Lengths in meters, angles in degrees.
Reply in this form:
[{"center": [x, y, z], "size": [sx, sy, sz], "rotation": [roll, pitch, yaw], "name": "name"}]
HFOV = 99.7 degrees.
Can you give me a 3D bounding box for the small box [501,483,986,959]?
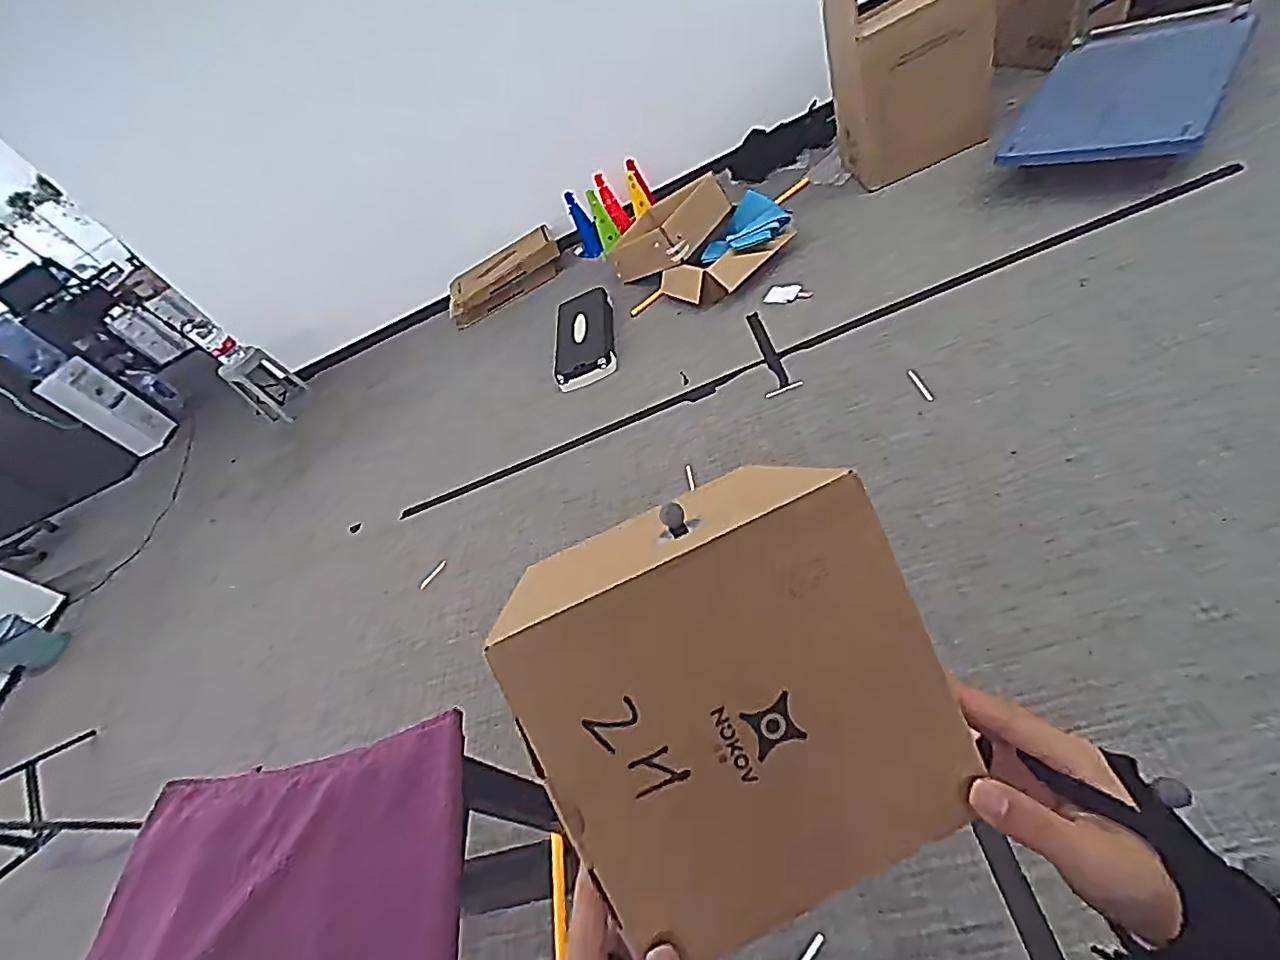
[{"center": [0.043, 0.107, 0.316], "size": [0.179, 0.168, 0.176], "rotation": [-25, 3, -4], "name": "small box"}]
